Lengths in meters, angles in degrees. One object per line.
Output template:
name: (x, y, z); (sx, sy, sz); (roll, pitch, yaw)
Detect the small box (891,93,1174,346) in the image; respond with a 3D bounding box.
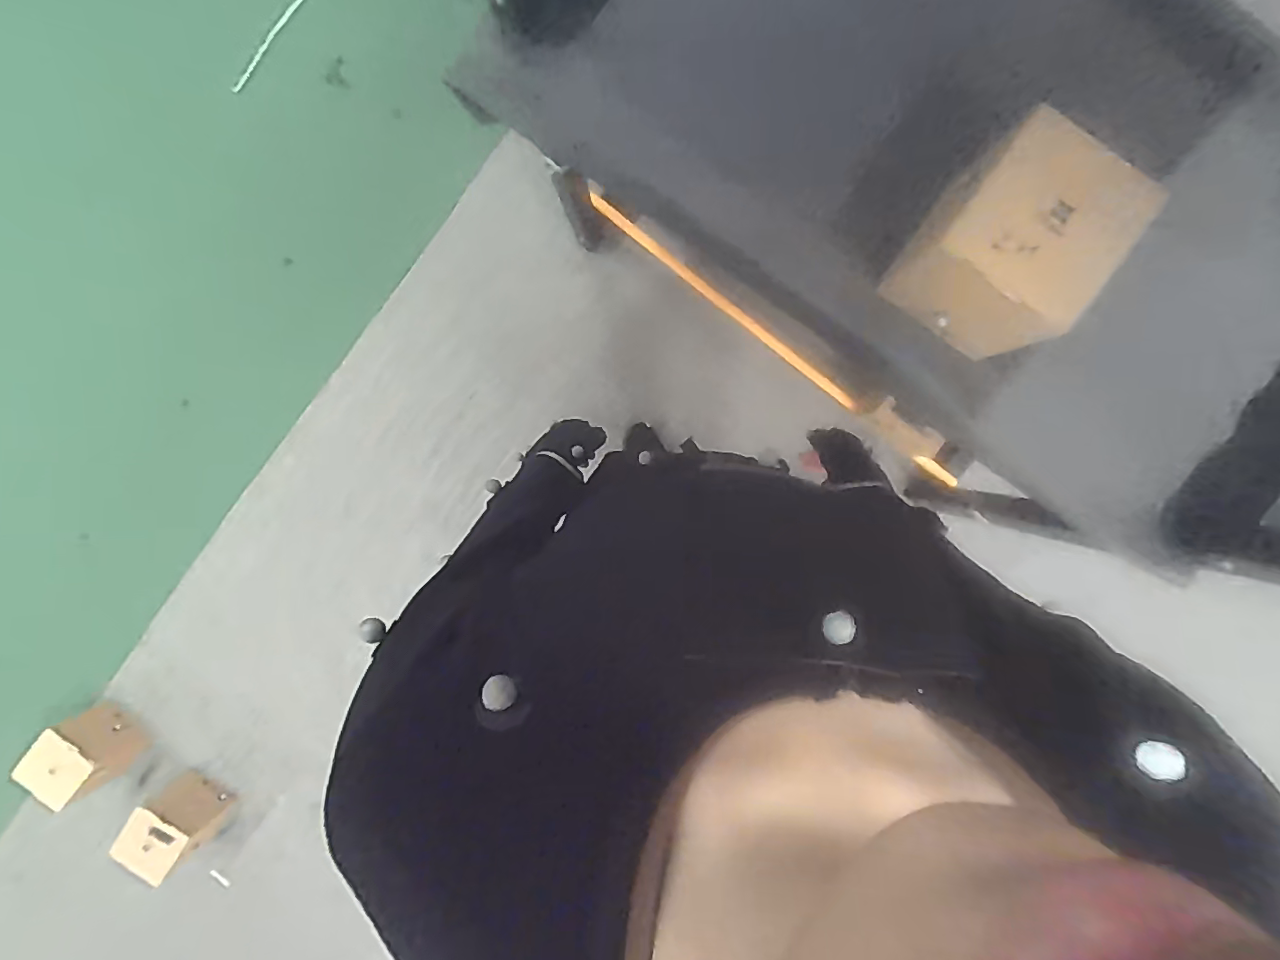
small box: (0.436, -0.285, 0.637); (0.168, 0.176, 0.179); (36, 93, 0)

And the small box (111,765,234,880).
small box: (-1.292, 0.947, 1.512); (0.168, 0.176, 0.179); (34, 95, 0)

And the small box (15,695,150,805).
small box: (-1.545, 0.745, 1.510); (0.168, 0.176, 0.179); (40, 93, -1)
